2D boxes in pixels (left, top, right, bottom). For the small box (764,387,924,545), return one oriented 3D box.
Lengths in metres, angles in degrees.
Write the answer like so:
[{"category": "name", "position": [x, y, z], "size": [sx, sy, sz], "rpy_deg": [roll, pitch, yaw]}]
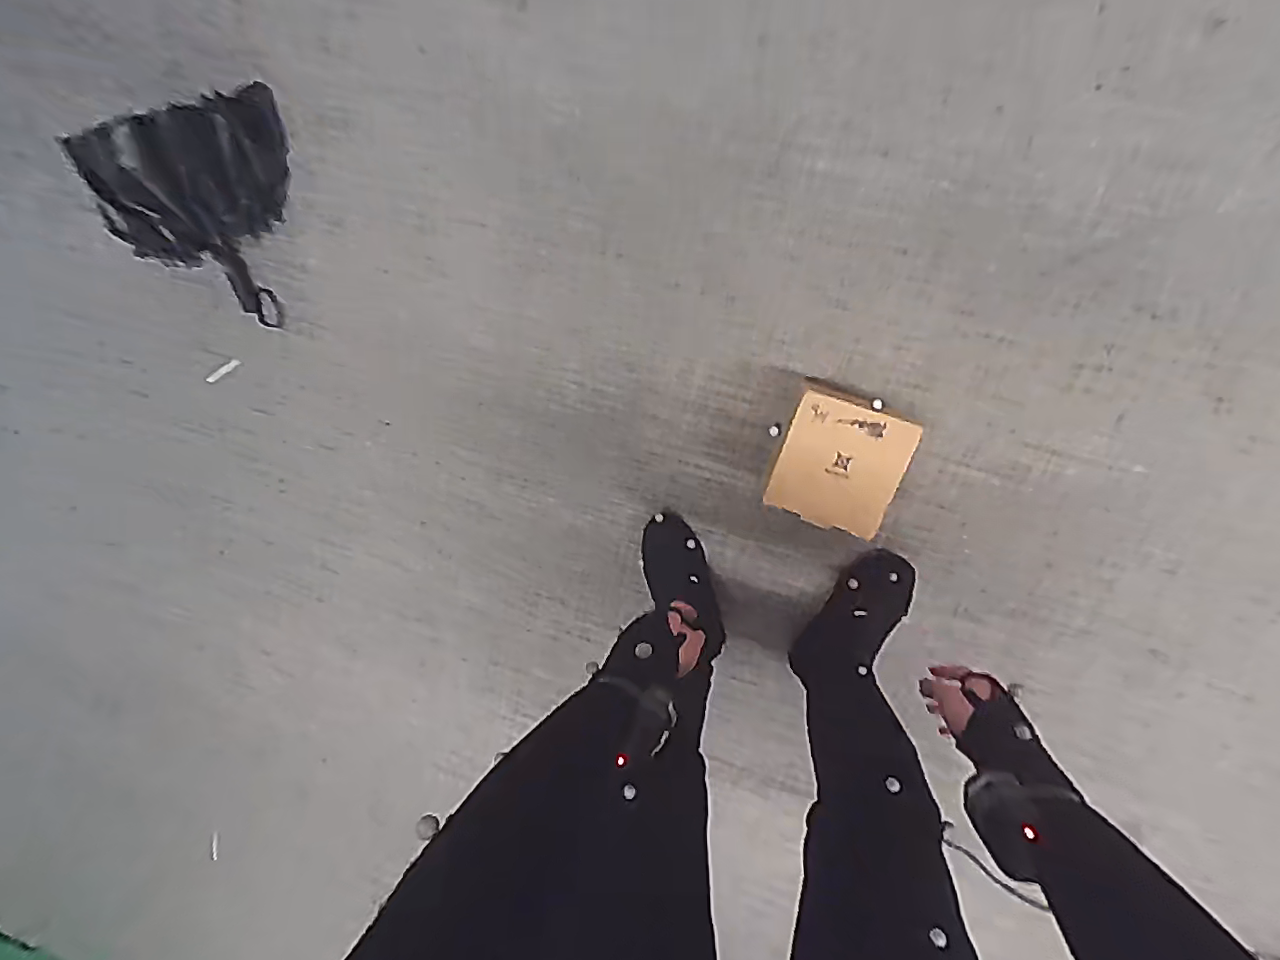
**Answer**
[{"category": "small box", "position": [0.303, -0.031, 0.836], "size": [0.168, 0.176, 0.179], "rpy_deg": [19, 109, 8]}]
